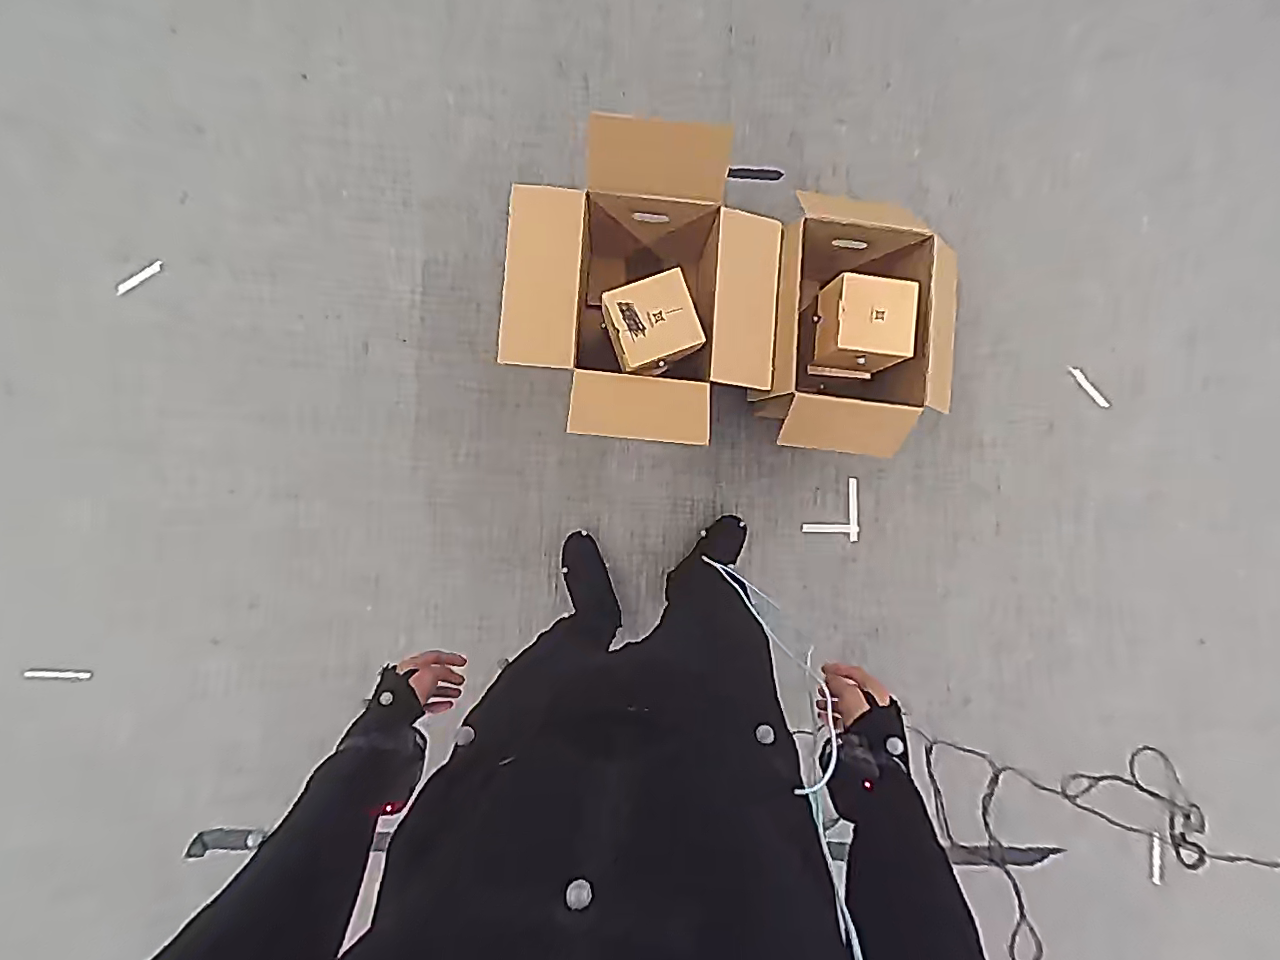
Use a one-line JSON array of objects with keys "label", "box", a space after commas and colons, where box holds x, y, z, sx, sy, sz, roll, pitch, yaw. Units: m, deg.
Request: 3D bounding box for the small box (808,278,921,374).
[{"label": "small box", "box": [0.508, -0.344, 1.242, 0.179, 0.176, 0.168, 5, 89, -4]}]
